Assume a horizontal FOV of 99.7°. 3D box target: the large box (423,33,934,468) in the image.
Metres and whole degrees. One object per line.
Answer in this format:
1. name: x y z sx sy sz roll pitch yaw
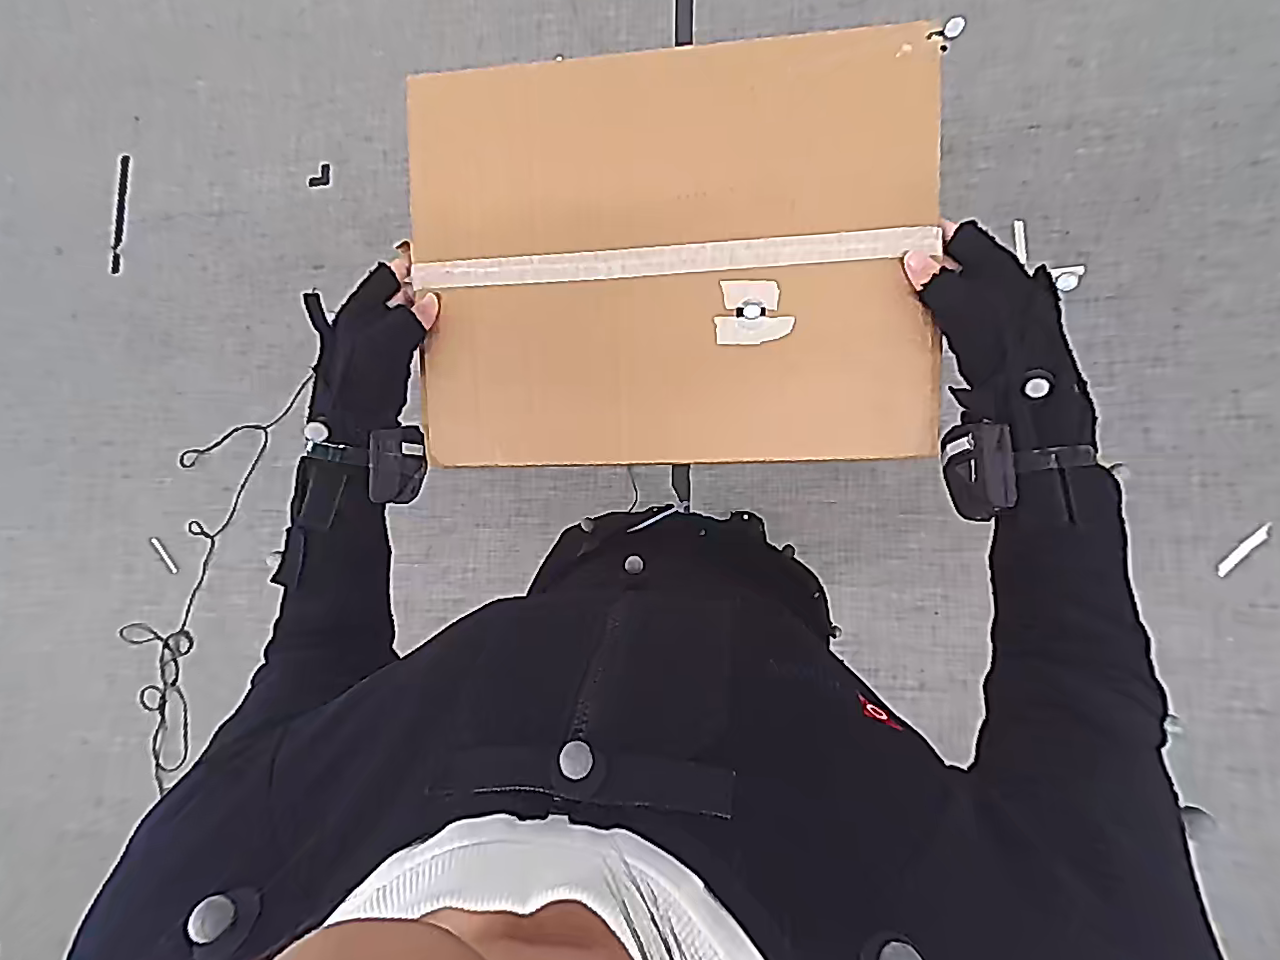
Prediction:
1. large box: 0.038 -0.181 0.578 0.408 0.320 0.320 -2 94 6
